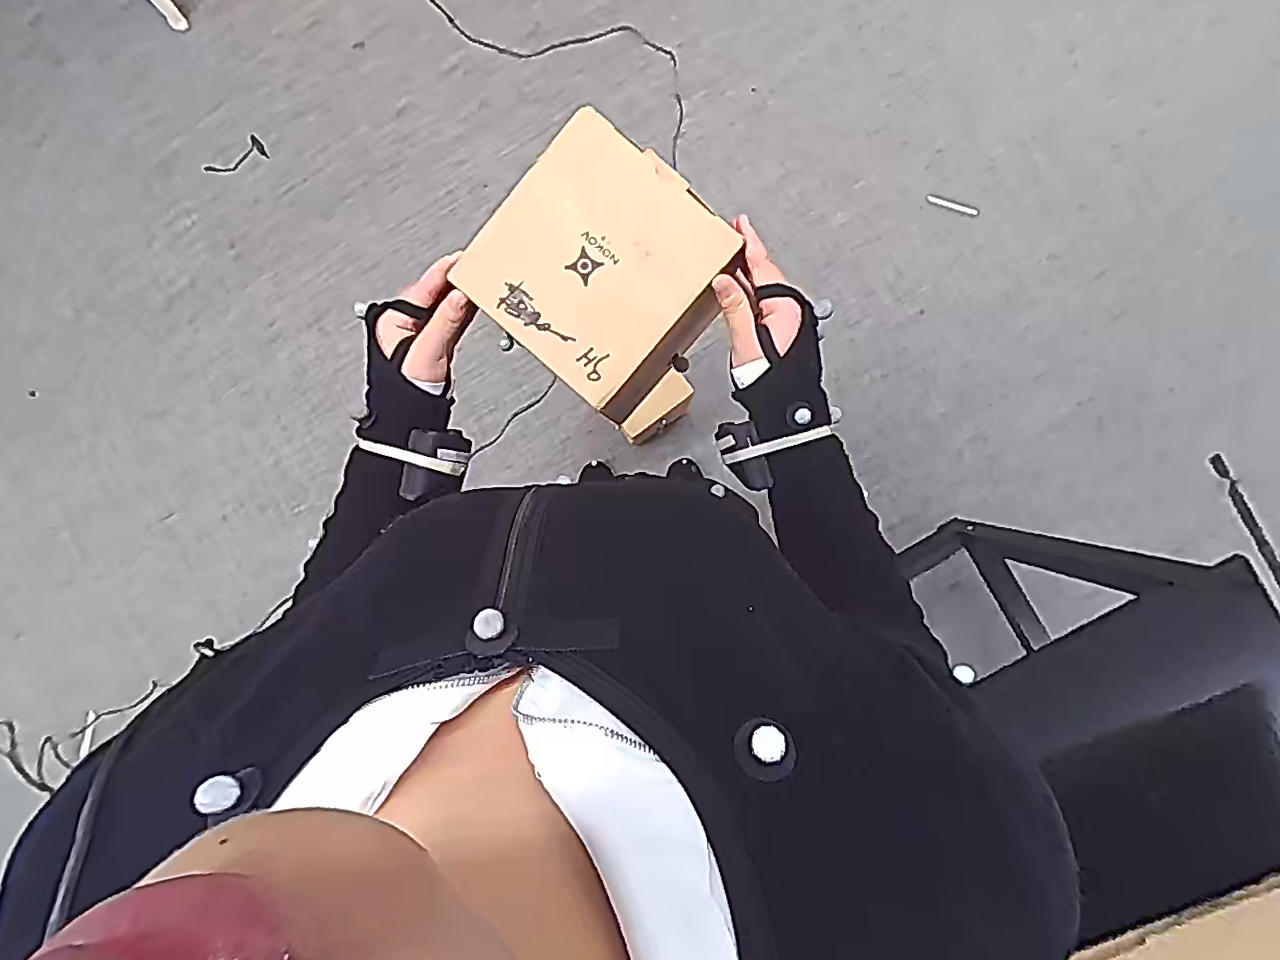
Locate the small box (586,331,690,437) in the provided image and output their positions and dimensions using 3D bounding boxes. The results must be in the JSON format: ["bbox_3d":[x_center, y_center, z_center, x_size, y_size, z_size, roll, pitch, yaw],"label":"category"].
[{"bbox_3d":[-0.001,-0.213,1.260,0.179,0.176,0.168,-38,90,2],"label":"small box"}]

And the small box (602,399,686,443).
[{"bbox_3d":[0.003,-0.211,1.422,0.179,0.176,0.168,-34,89,4],"label":"small box"}]
